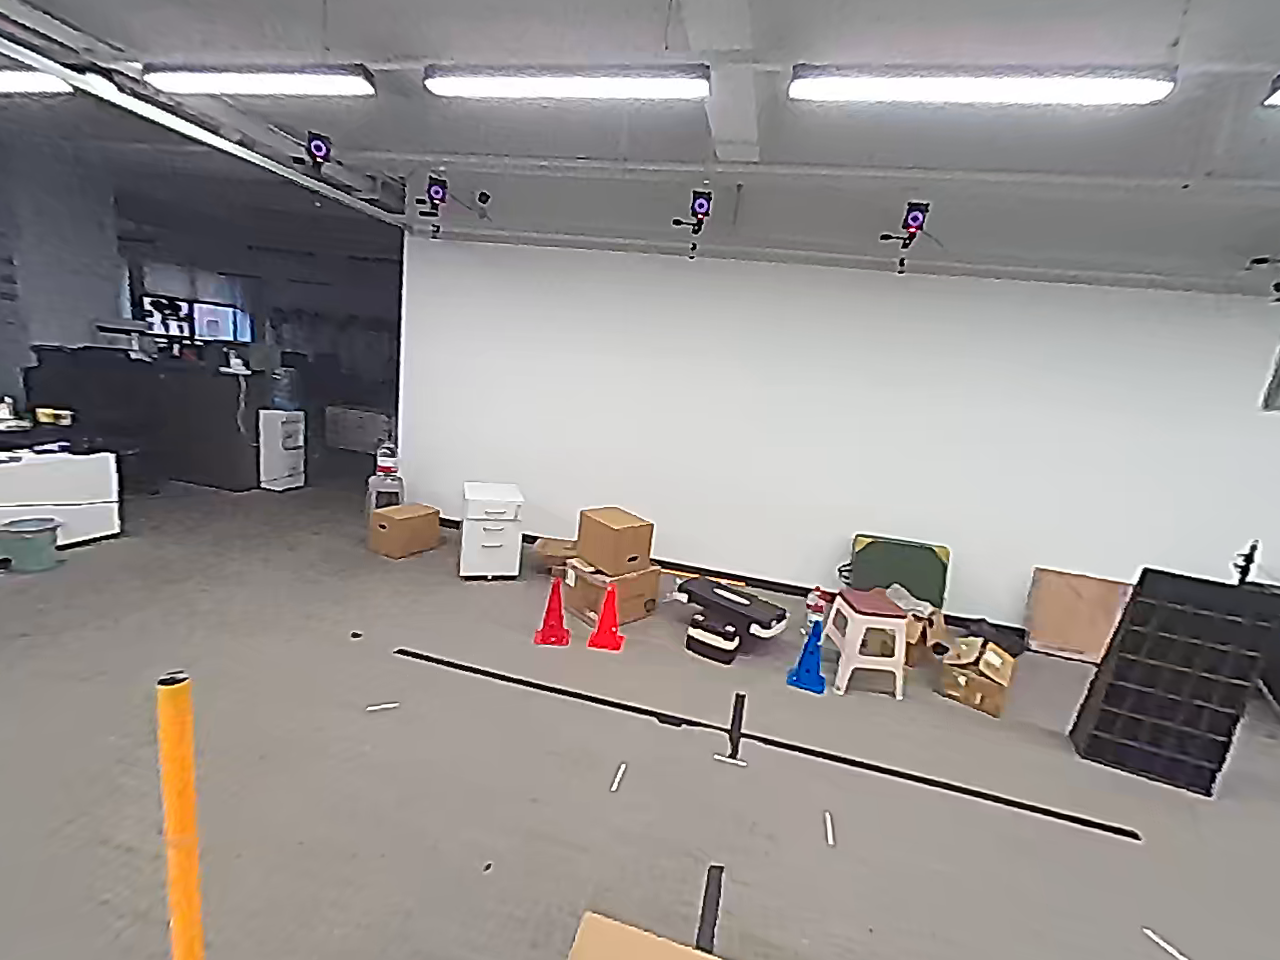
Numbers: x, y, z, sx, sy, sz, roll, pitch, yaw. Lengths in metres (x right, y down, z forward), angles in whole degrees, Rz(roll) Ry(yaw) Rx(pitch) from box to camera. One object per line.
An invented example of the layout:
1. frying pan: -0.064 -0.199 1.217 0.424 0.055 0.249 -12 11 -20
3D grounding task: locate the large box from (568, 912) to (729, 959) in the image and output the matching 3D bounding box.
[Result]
1. large box: 0.029 1.077 0.943 0.408 0.320 0.320 9 13 13
